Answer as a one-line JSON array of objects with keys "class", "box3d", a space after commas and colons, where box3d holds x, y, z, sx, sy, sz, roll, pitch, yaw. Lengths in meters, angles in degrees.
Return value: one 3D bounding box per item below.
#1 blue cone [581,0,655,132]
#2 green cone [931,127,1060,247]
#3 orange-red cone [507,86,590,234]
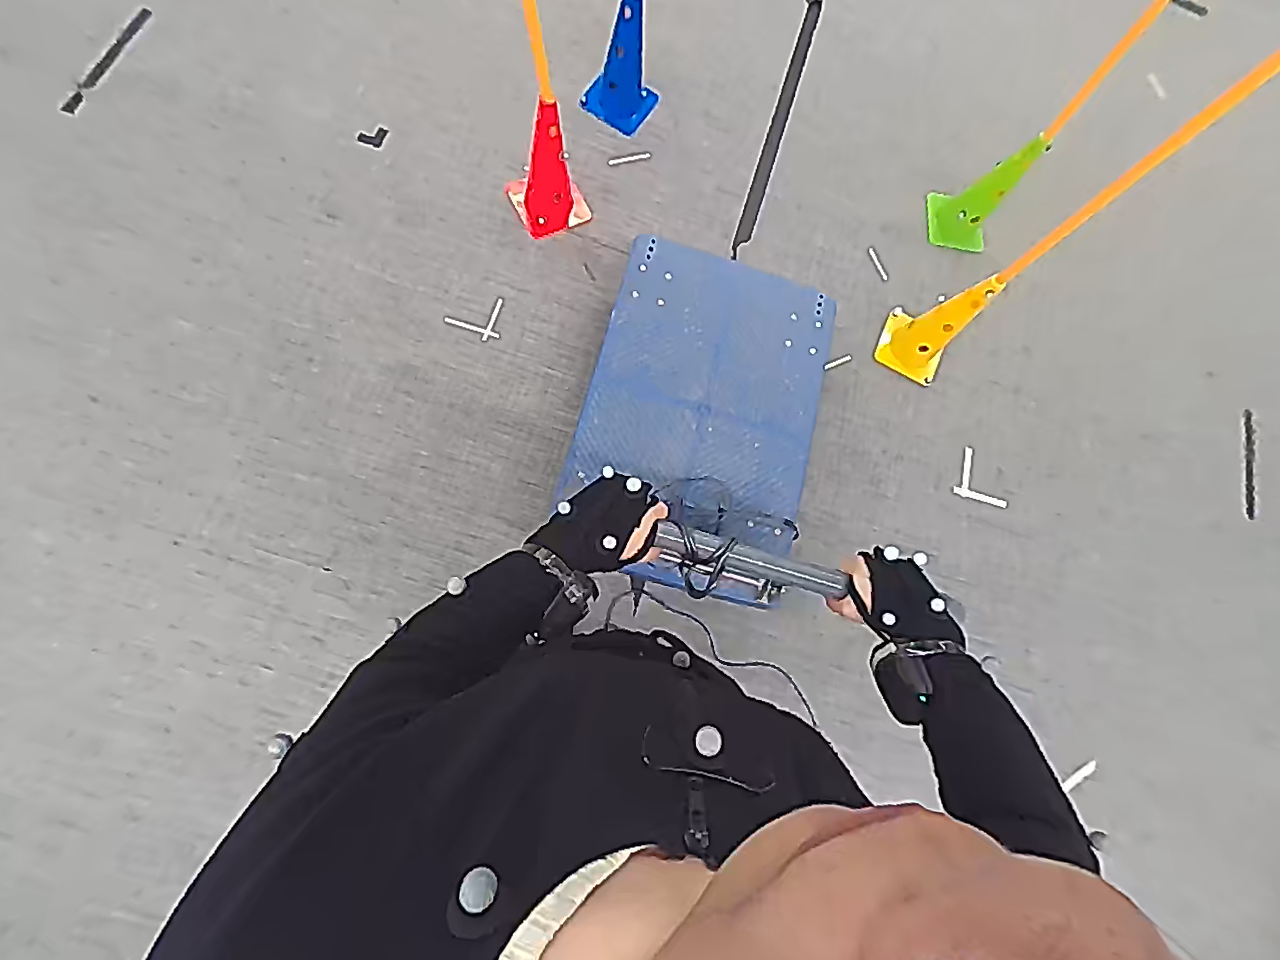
[{"class": "blue cone", "box3d": [-0.042, -1.239, 1.553, 0.193, 0.380, 0.192, 33, 76, 0]}, {"class": "green cone", "box3d": [1.090, -0.911, 1.636, 0.200, 0.368, 0.202, 5, 78, -7]}, {"class": "orange-red cone", "box3d": [-0.240, -0.863, 1.423, 0.199, 0.360, 0.198, -26, 83, -15]}]
